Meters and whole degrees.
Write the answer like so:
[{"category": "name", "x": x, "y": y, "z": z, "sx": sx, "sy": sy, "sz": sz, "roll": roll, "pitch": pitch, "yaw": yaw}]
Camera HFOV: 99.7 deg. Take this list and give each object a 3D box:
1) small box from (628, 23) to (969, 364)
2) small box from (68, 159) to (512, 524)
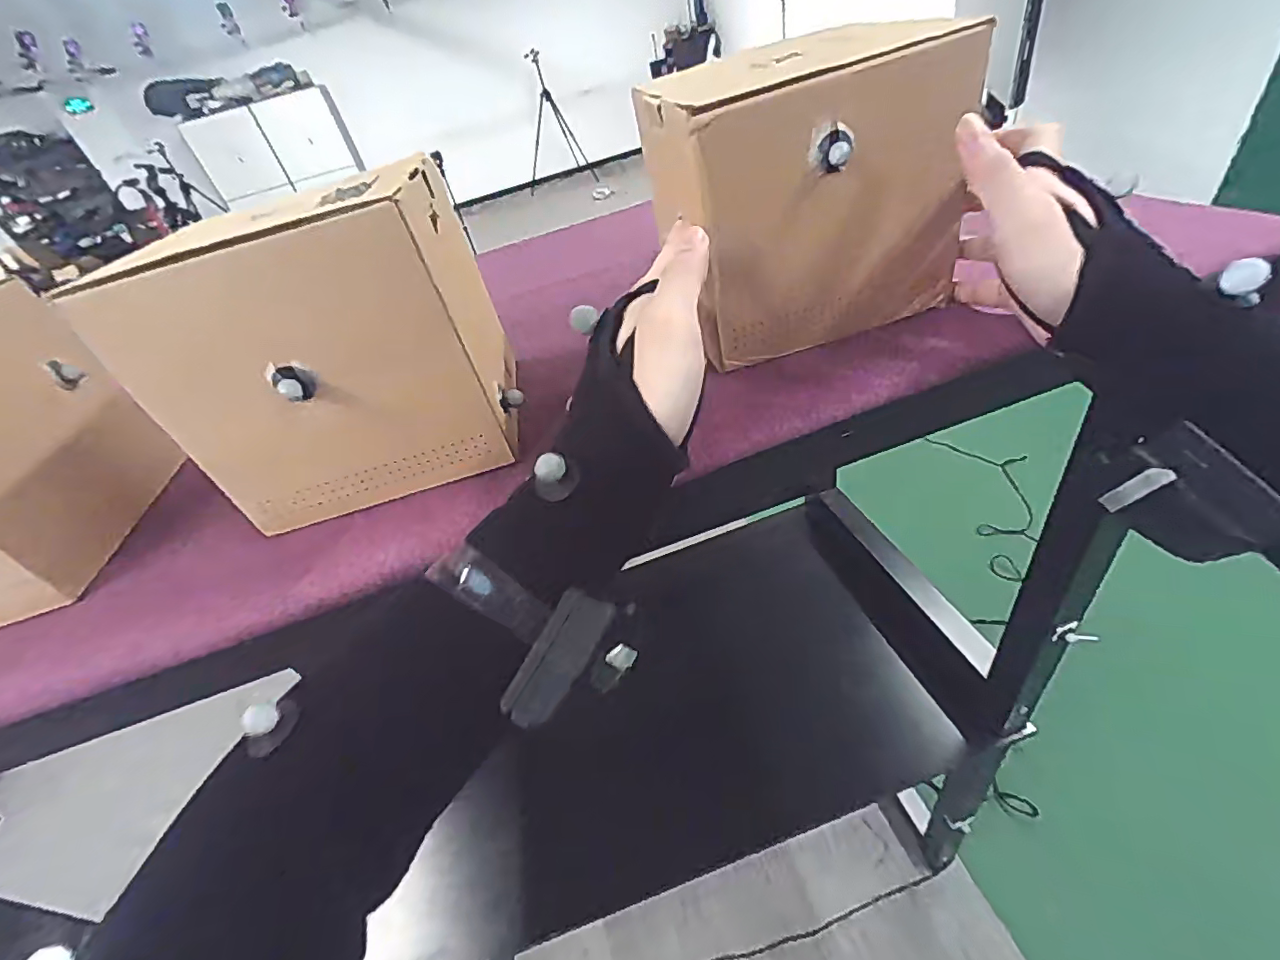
[{"category": "small box", "x": 0.104, "y": -0.209, "z": 0.406, "sx": 0.179, "sy": 0.176, "sz": 0.168, "roll": -16, "pitch": 41, "yaw": 1}, {"category": "small box", "x": -0.199, "y": -0.098, "z": 0.380, "sx": 0.179, "sy": 0.176, "sz": 0.168, "roll": -18, "pitch": 38, "yaw": 0}]
